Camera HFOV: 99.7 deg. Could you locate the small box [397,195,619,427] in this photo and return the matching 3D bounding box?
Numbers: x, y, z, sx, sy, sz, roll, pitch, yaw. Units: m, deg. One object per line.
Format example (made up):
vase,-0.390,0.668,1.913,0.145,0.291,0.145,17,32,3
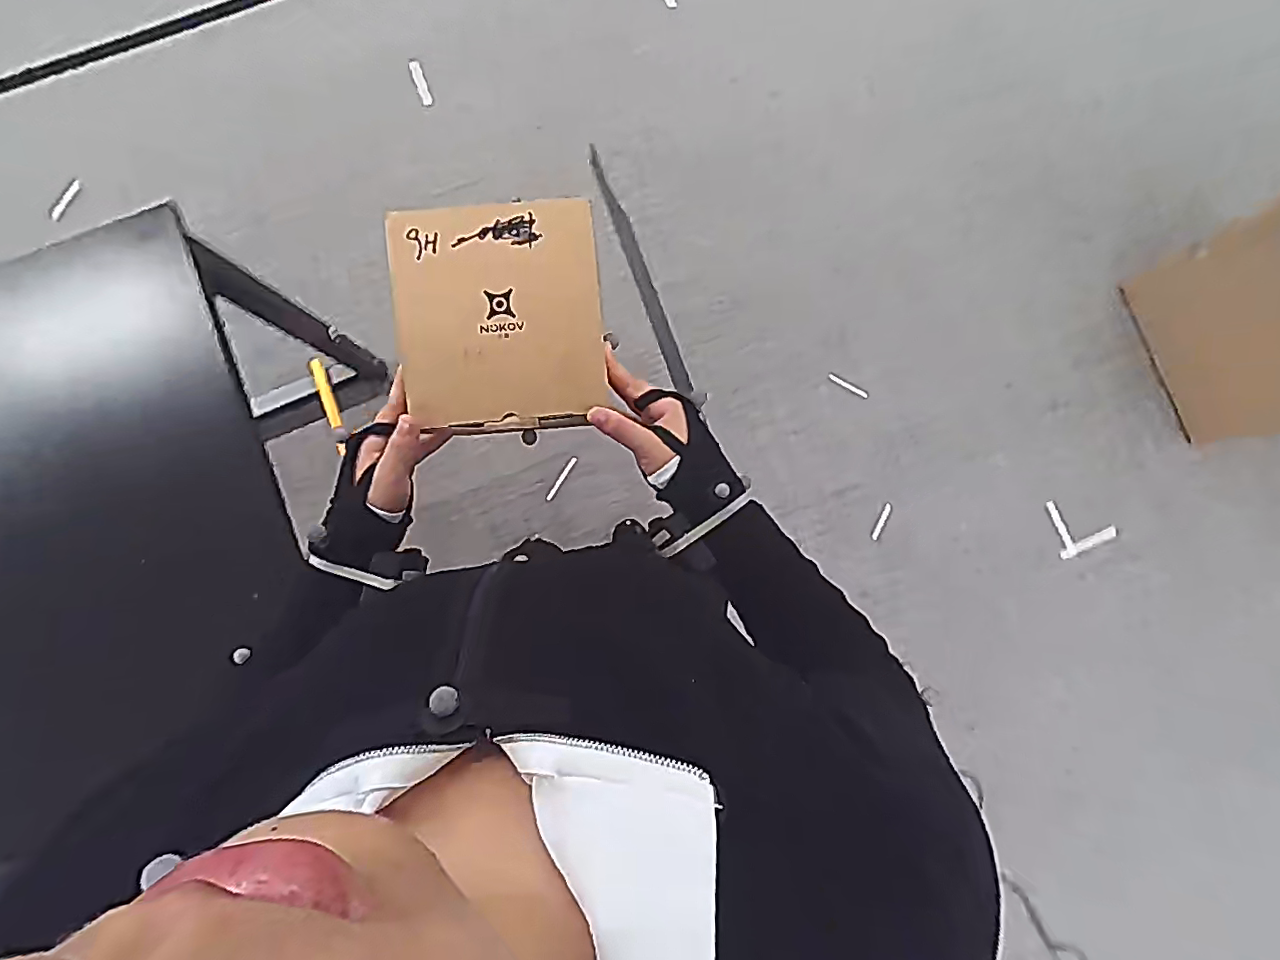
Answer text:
small box,-0.108,-0.144,0.519,0.168,0.176,0.179,-5,95,-1
